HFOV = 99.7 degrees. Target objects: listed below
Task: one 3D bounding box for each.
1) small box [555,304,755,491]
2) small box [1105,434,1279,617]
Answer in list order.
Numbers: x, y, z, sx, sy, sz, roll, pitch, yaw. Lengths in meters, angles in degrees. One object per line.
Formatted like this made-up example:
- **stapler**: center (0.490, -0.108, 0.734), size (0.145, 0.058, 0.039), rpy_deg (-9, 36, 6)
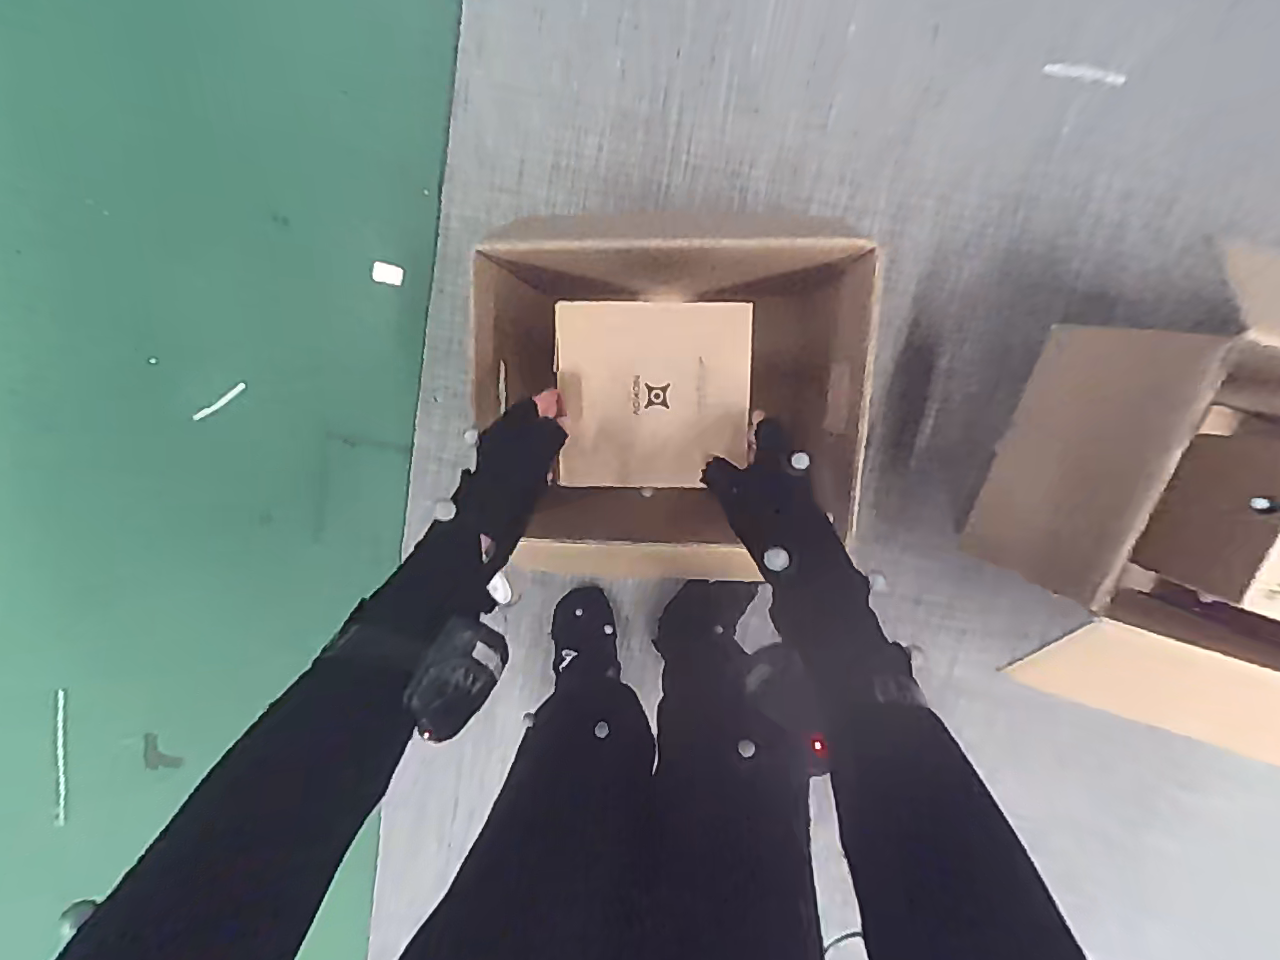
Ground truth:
- **small box**: center (0.013, -0.083, 0.558), size (0.179, 0.176, 0.168), rpy_deg (-2, 99, -1)
- **small box**: center (0.685, 0.052, 0.592), size (0.179, 0.176, 0.168), rpy_deg (17, 100, 2)
